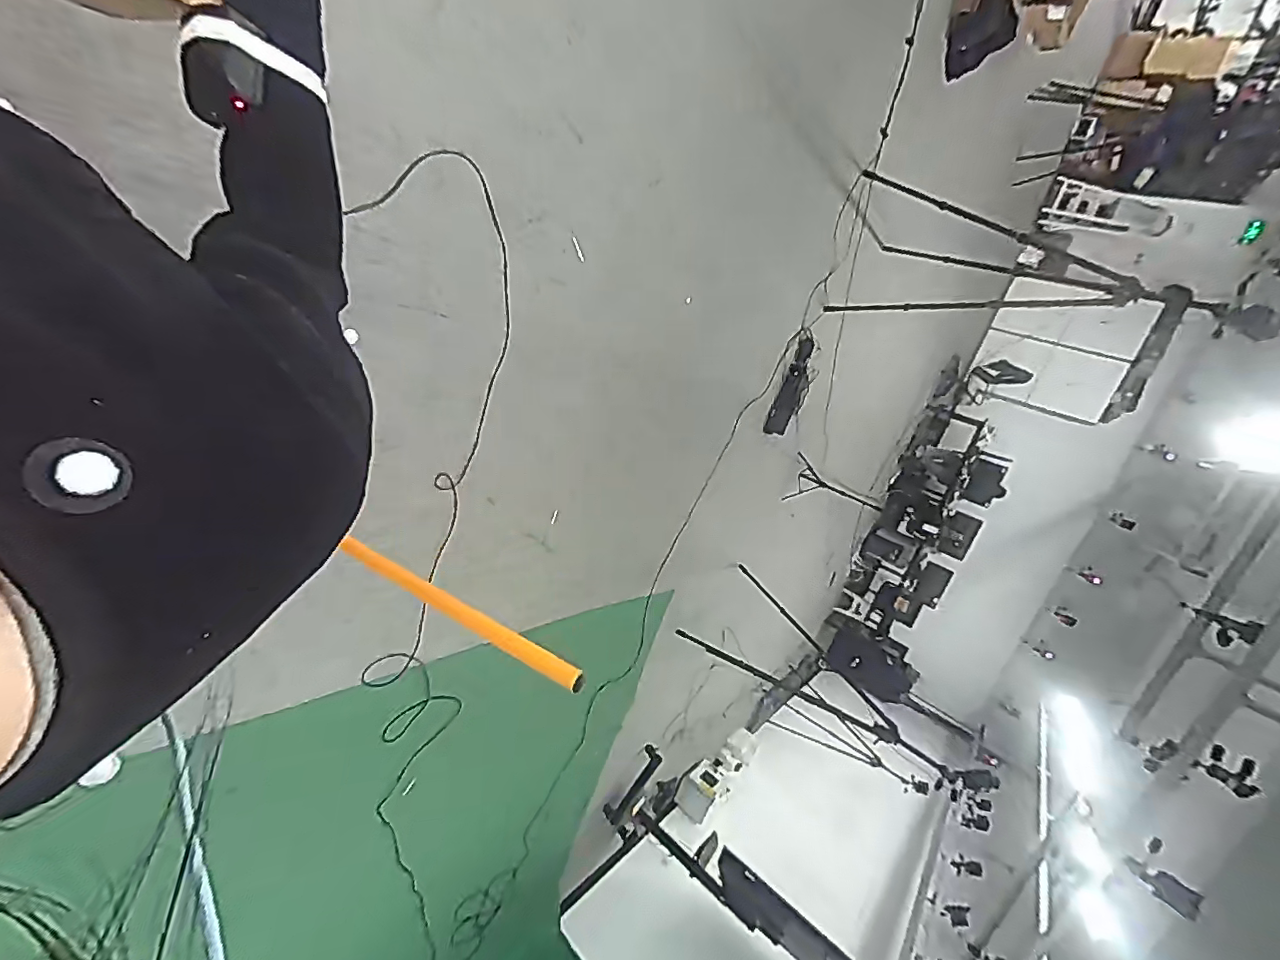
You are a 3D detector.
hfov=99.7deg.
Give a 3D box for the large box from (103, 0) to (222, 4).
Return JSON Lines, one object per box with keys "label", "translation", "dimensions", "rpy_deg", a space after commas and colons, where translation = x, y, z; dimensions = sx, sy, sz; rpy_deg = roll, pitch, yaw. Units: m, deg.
{"label": "large box", "translation": [-0.512, -0.537, 0.286], "dimensions": [0.408, 0.320, 0.320], "rpy_deg": [-12, 124, -52]}
